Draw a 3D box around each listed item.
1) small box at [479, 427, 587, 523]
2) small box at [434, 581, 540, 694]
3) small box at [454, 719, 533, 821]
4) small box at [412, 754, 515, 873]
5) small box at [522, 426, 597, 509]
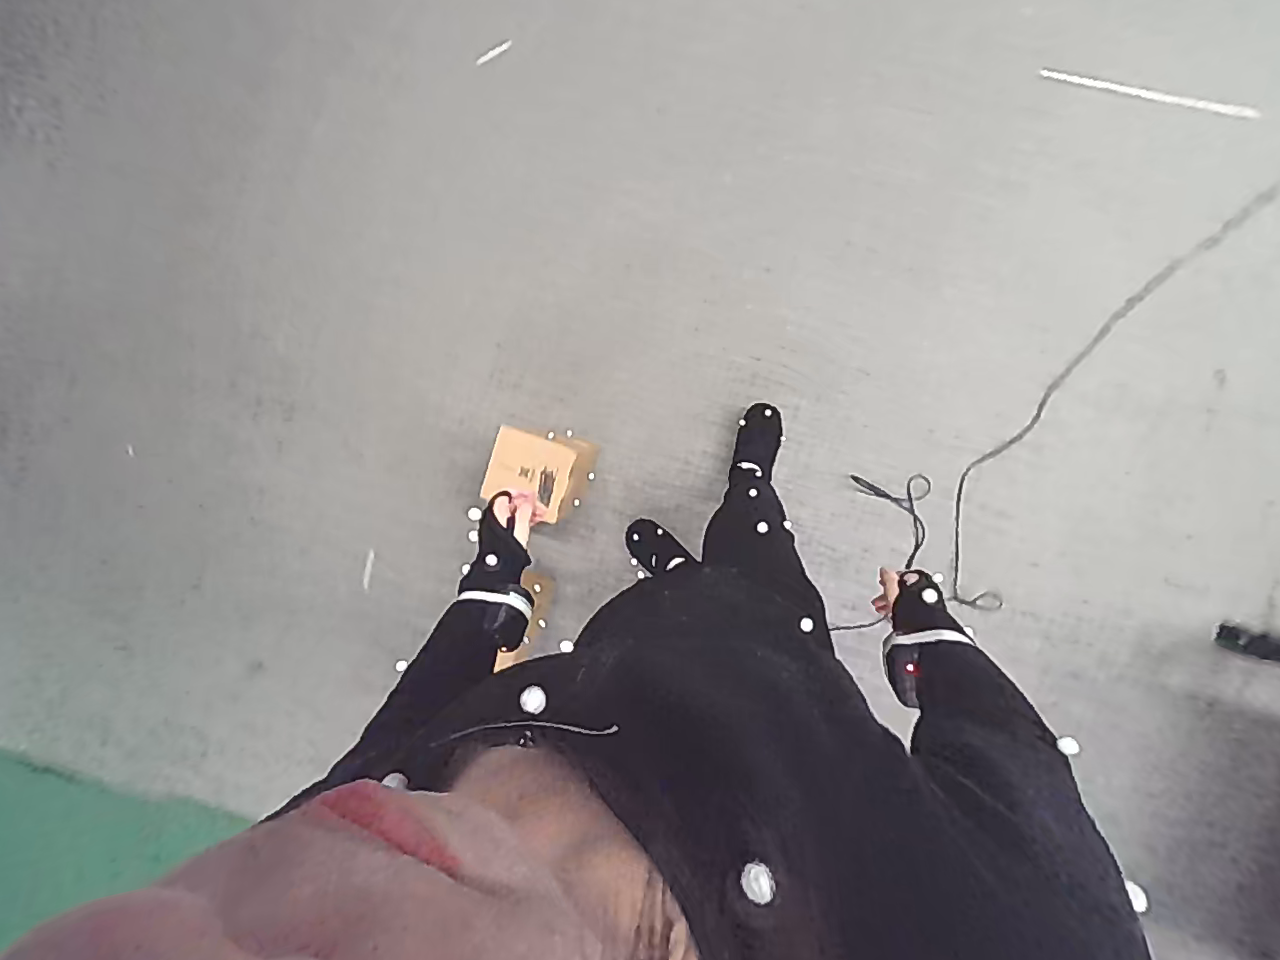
[{"bbox_3d":[-0.234,-0.019,1.230,0.179,0.176,0.168,19,97,5],"label":"small box"},{"bbox_3d":[-0.354,0.365,1.280,0.168,0.176,0.179,19,97,4],"label":"small box"},{"bbox_3d":[-0.411,0.792,1.493,0.179,0.176,0.168,14,96,5],"label":"small box"},{"bbox_3d":[-0.425,0.809,1.330,0.179,0.176,0.168,13,95,5],"label":"small box"},{"bbox_3d":[-0.221,-0.038,1.393,0.179,0.176,0.168,18,97,3],"label":"small box"}]
